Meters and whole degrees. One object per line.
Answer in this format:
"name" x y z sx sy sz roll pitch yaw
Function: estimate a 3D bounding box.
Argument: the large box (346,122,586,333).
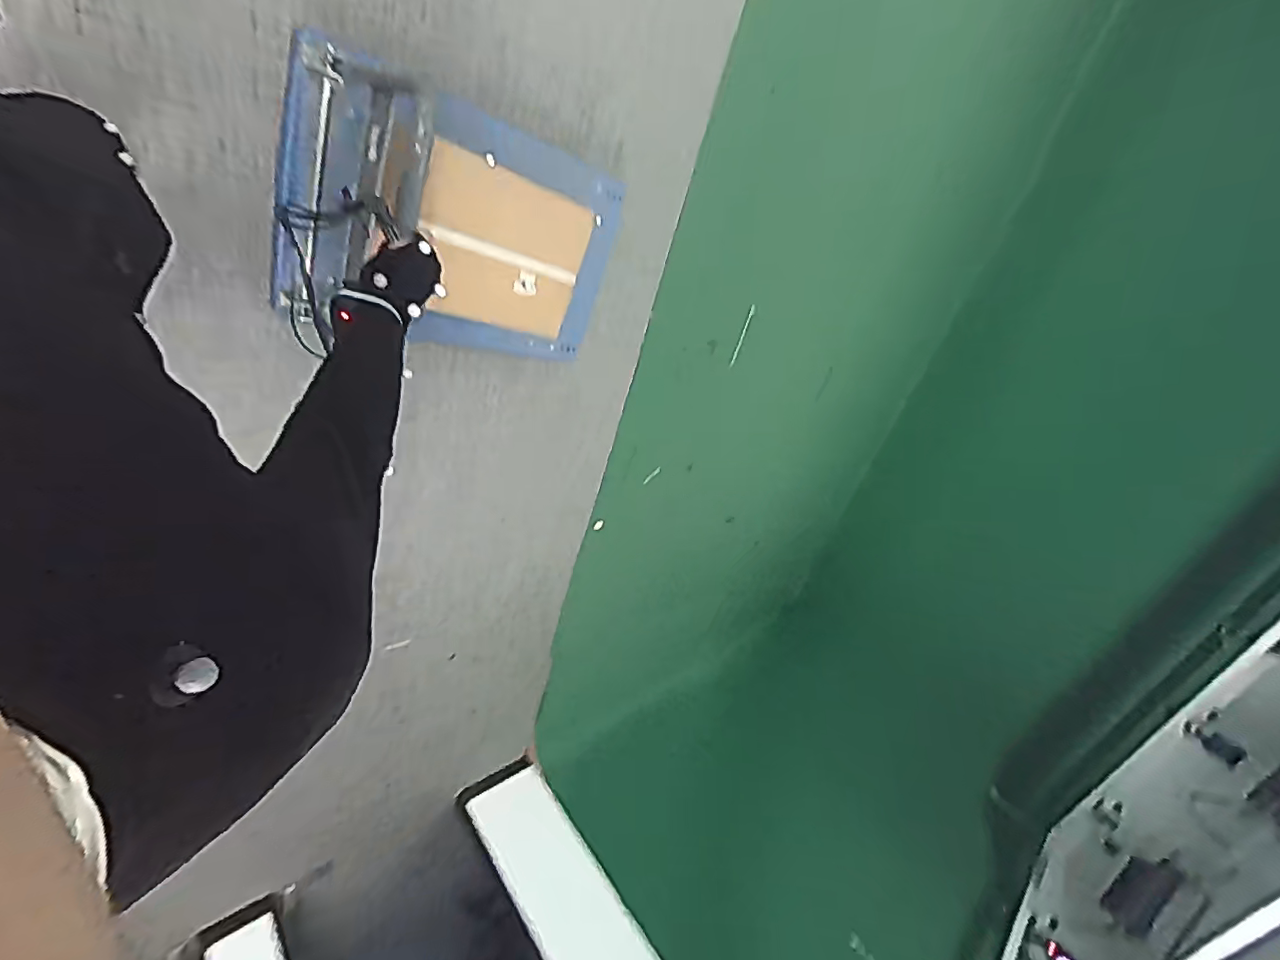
"large box" -0.408 -0.572 1.263 0.408 0.320 0.320 -1 122 -48
